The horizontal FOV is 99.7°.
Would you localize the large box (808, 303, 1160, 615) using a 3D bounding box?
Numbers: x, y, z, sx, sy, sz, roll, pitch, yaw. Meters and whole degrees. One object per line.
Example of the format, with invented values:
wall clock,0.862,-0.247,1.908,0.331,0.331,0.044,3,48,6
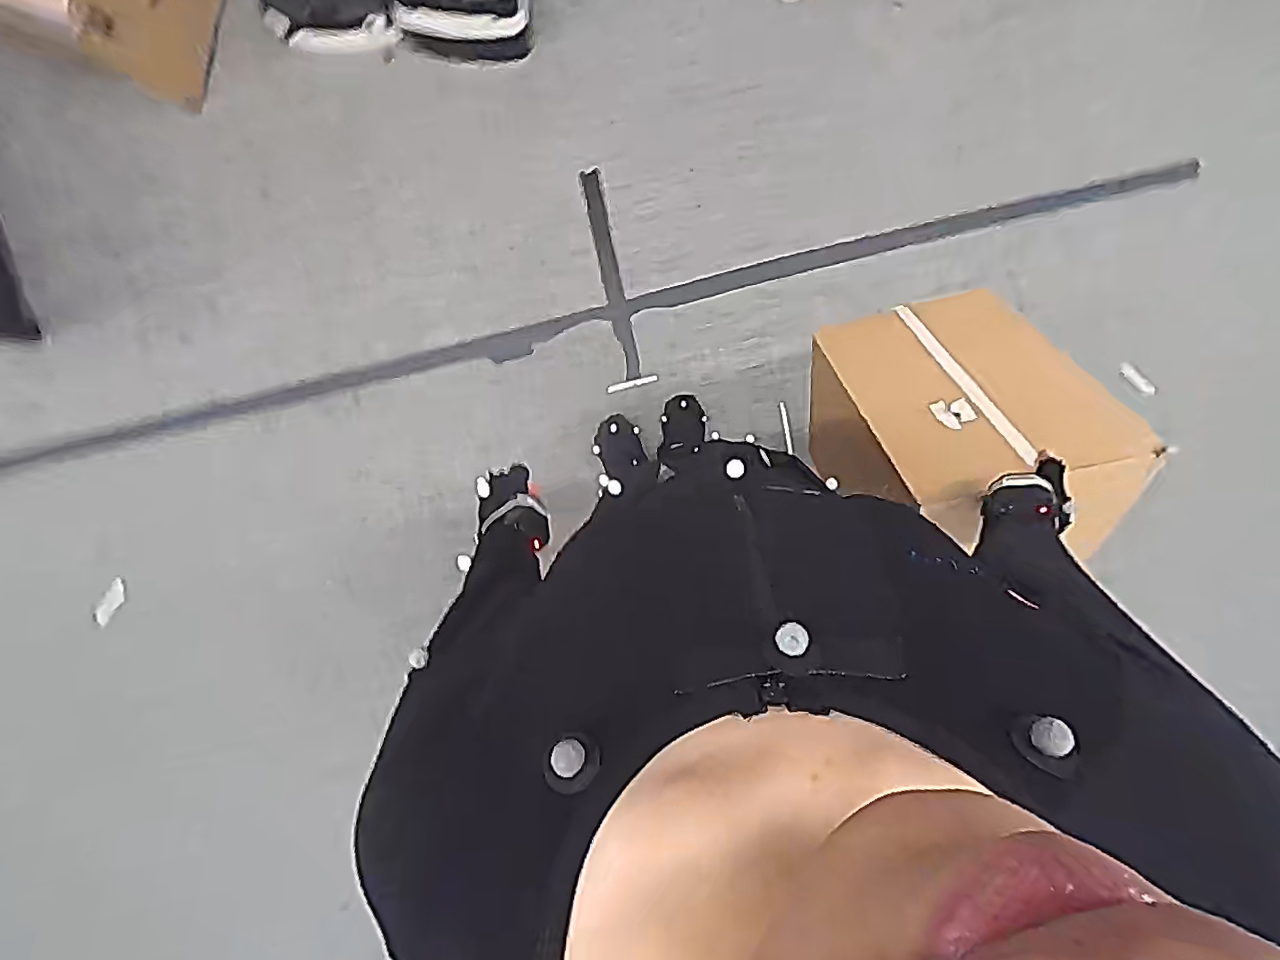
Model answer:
large box,0.516,-0.039,0.938,0.320,0.408,0.320,-14,139,4
